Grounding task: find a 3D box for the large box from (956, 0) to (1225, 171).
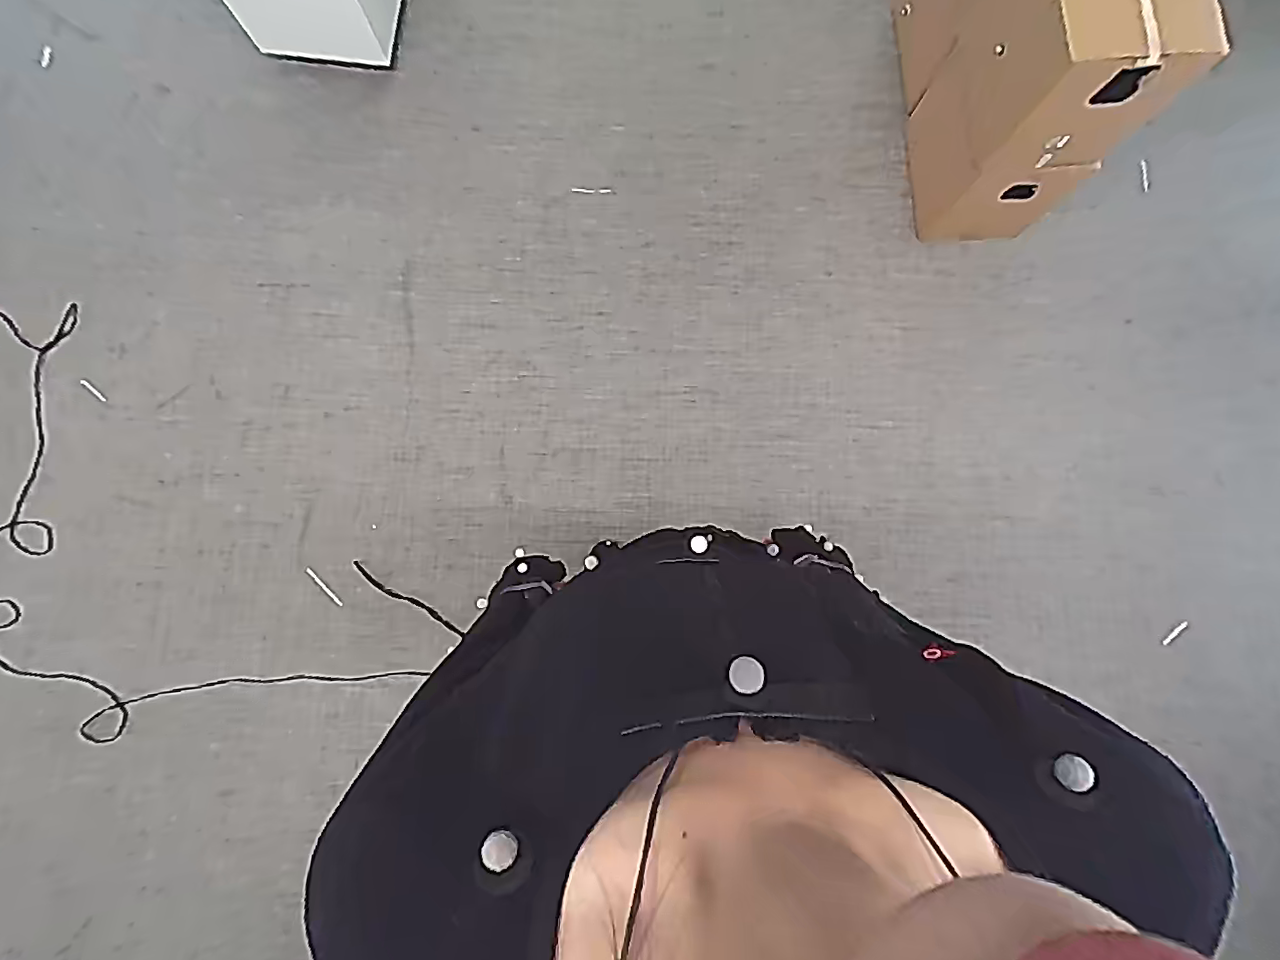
[{"bbox_3d":[0.981,-0.997,1.232,0.320,0.320,0.408,-4,82,0],"label":"large box"}]
